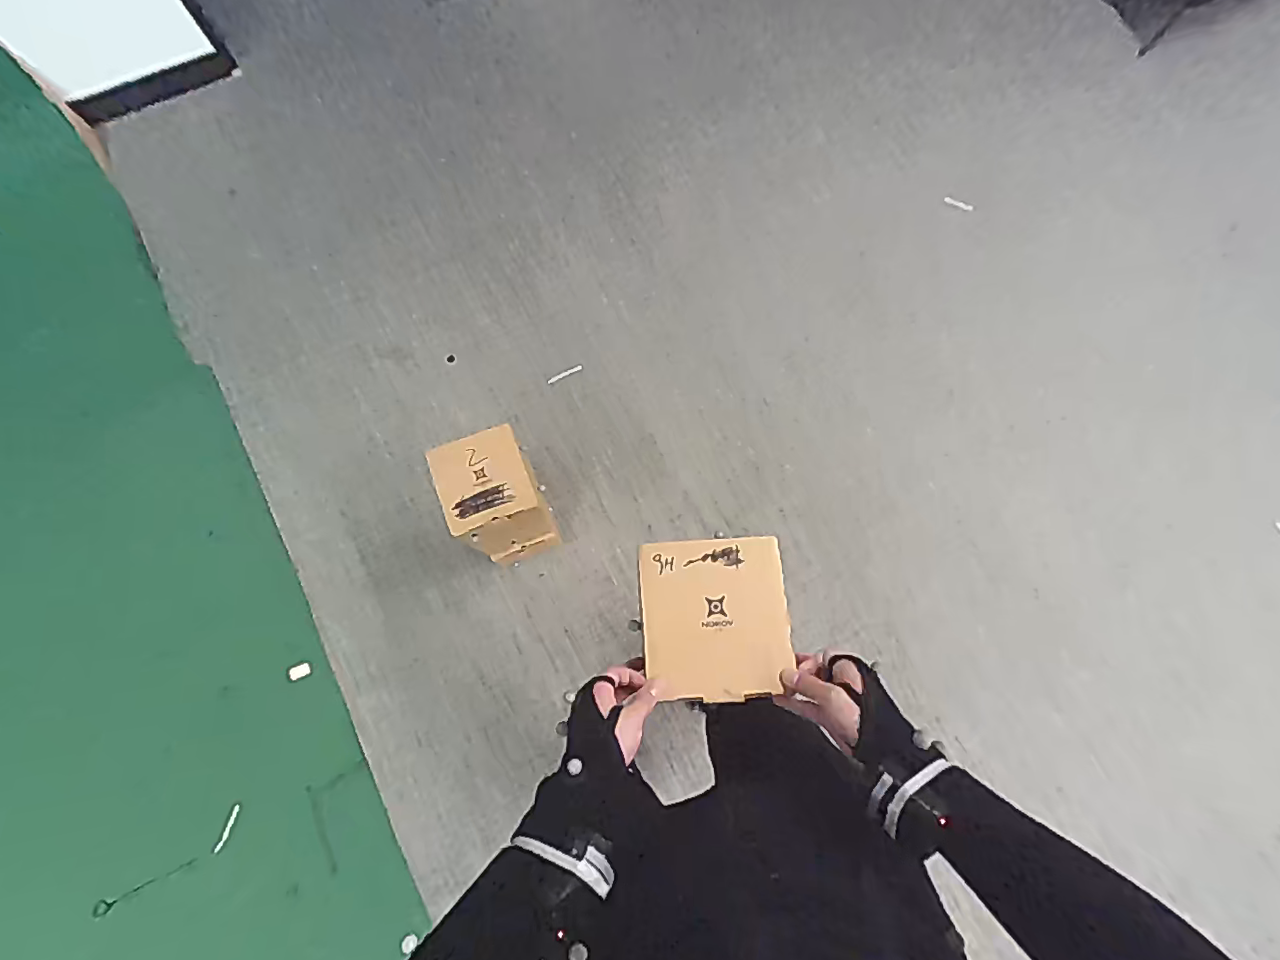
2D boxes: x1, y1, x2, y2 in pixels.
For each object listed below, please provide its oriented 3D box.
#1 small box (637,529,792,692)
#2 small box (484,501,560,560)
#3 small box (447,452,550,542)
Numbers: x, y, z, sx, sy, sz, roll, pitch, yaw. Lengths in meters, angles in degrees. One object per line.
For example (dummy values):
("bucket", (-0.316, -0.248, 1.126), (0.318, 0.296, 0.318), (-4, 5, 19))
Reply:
("small box", (0.082, 0.165, 0.685), (0.168, 0.176, 0.179), (-2, 73, -2))
("small box", (-0.314, 0.098, 1.394), (0.168, 0.176, 0.179), (-22, 78, -8))
("small box", (-0.317, 0.047, 1.248), (0.179, 0.176, 0.168), (10, 78, 0))
